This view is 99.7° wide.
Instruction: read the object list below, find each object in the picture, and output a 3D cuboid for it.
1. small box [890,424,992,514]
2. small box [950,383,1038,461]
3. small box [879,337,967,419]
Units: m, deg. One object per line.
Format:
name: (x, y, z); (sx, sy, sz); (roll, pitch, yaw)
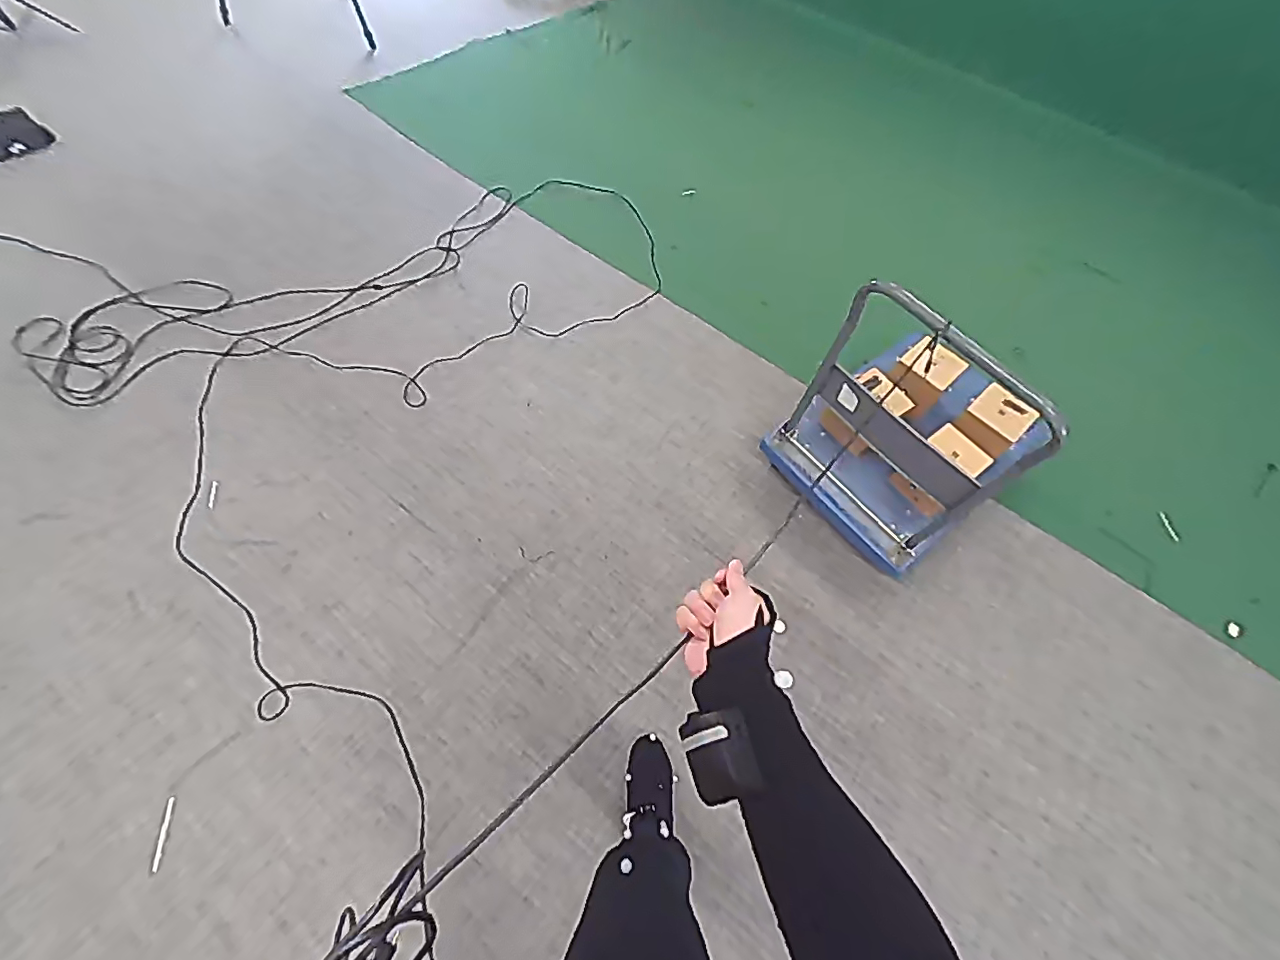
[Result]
small box: (0.892, -0.029, 1.622); (0.179, 0.176, 0.168); (-33, 68, -21)
small box: (1.102, -0.168, 1.723); (0.179, 0.176, 0.168); (-37, 69, -23)
small box: (0.931, -0.335, 1.802); (0.179, 0.176, 0.168); (-37, 71, -24)
